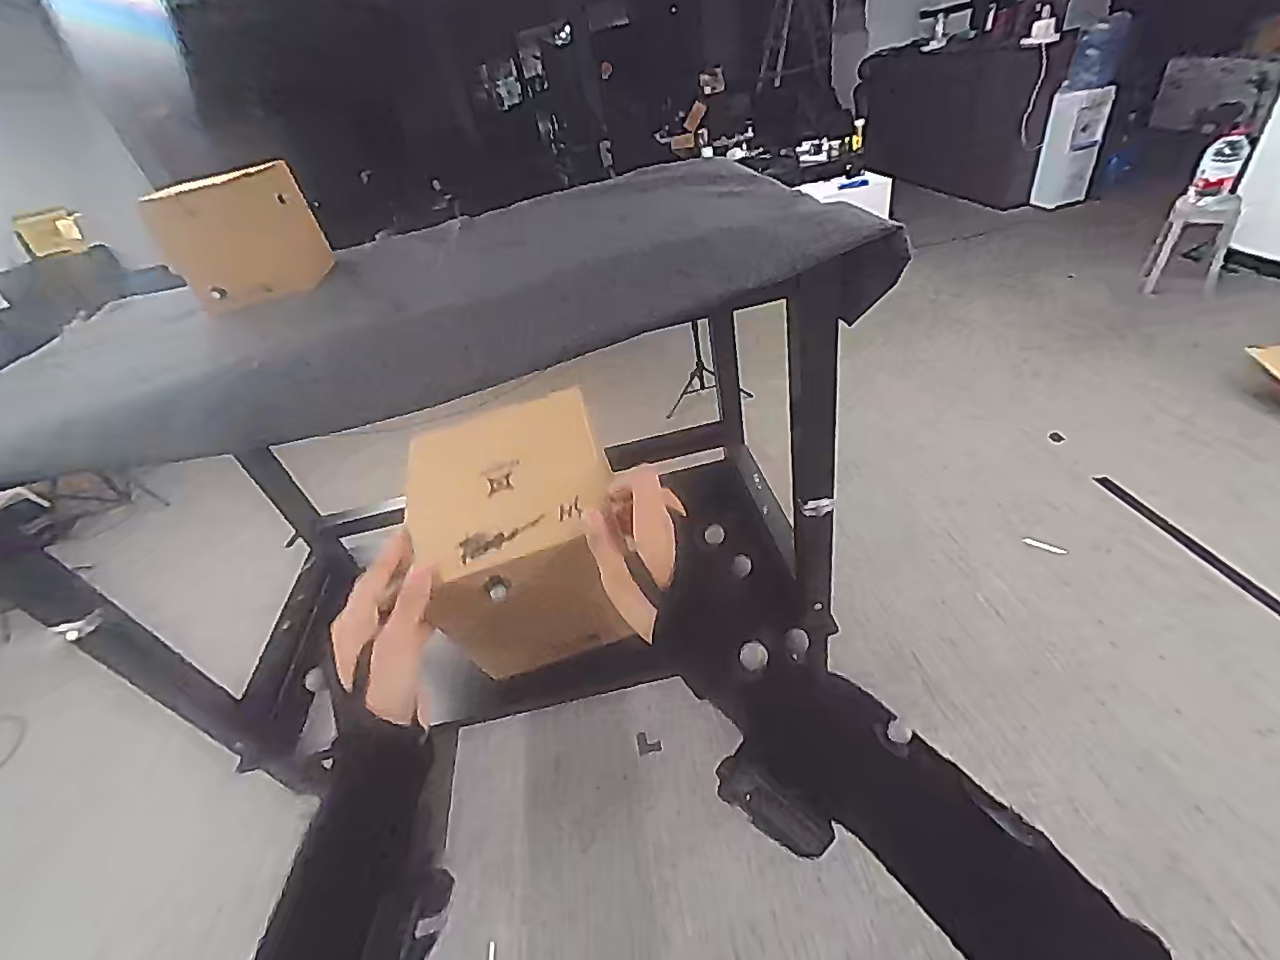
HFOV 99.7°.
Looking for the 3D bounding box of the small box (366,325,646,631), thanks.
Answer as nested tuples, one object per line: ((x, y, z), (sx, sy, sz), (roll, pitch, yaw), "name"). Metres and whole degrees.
((-0.105, 0.000, 0.471), (0.168, 0.176, 0.179), (-19, 47, 0), "small box")
